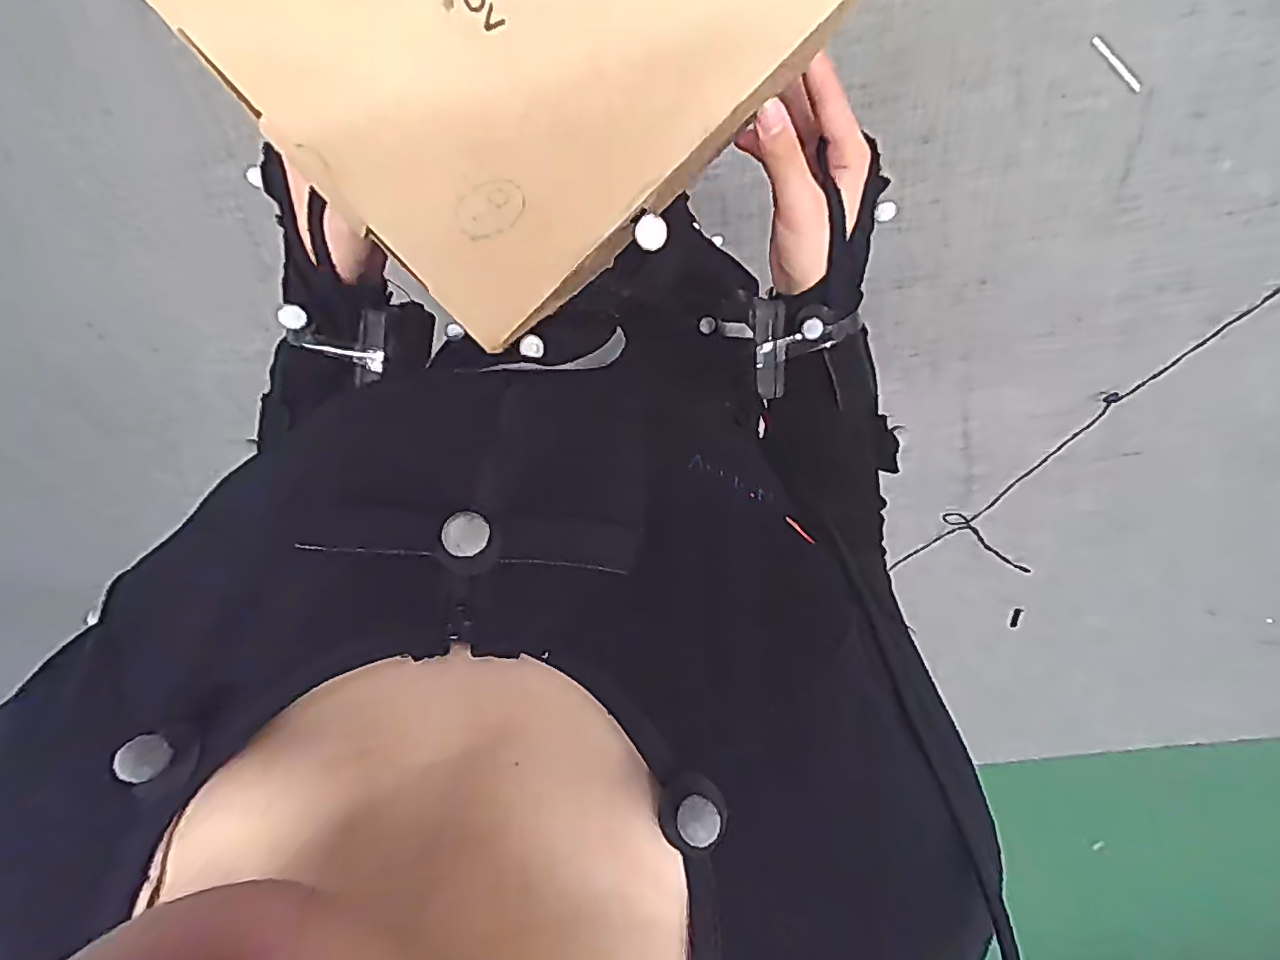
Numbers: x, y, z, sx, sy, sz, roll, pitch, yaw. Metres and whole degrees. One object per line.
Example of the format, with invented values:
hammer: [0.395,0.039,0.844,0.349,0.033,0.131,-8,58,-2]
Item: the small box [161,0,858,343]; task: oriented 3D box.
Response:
small box: [-0.037,-0.189,0.228,0.179,0.176,0.168,-37,108,20]
